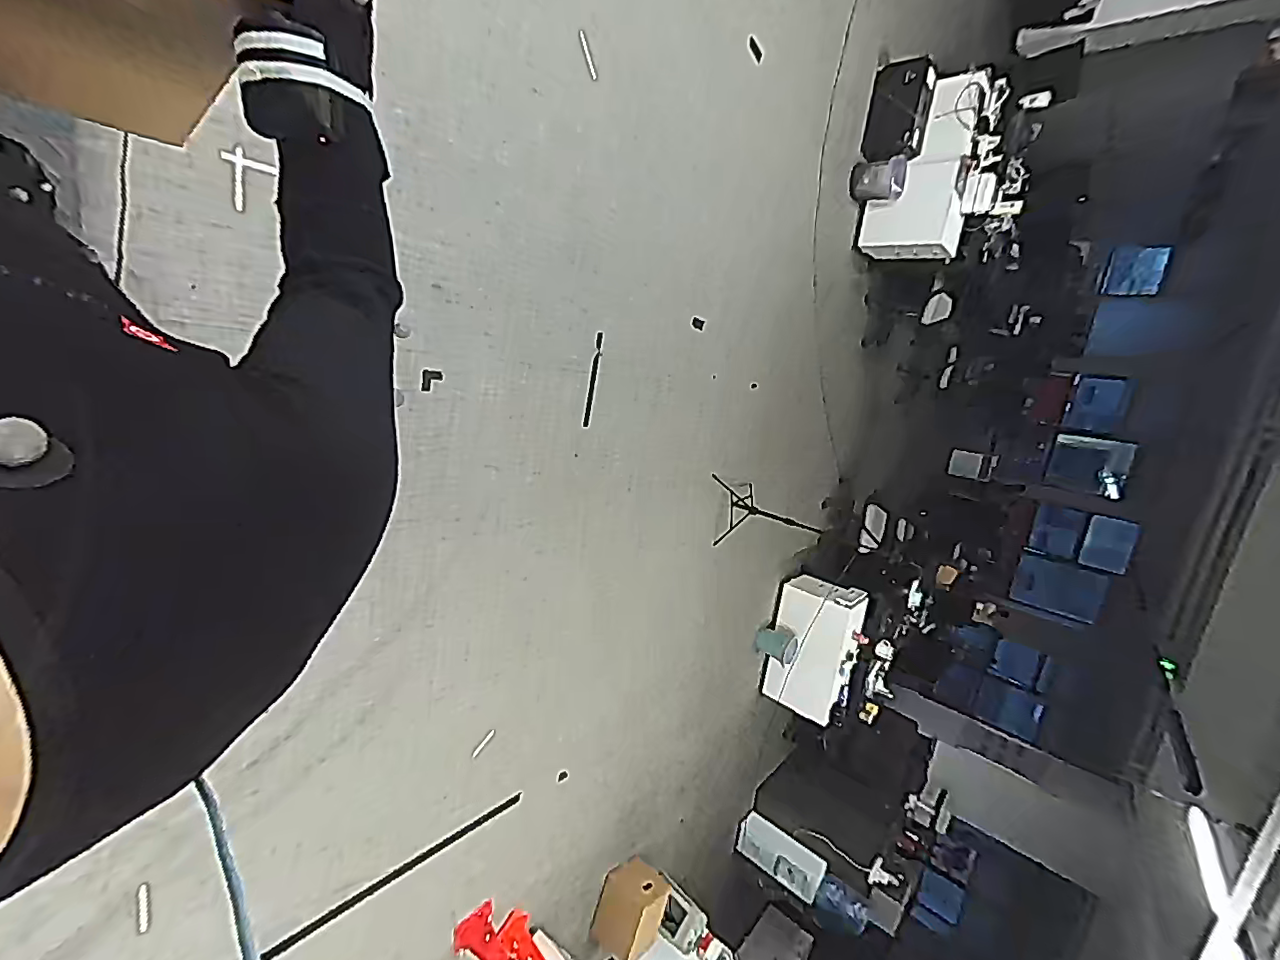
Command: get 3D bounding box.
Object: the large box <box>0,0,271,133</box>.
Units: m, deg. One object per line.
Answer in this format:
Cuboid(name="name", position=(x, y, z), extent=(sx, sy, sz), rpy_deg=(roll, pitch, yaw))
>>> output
Cuboid(name="large box", position=(-0.475, -0.459, 0.278), extent=(0.408, 0.320, 0.320), rpy_deg=(-8, 102, -50))
